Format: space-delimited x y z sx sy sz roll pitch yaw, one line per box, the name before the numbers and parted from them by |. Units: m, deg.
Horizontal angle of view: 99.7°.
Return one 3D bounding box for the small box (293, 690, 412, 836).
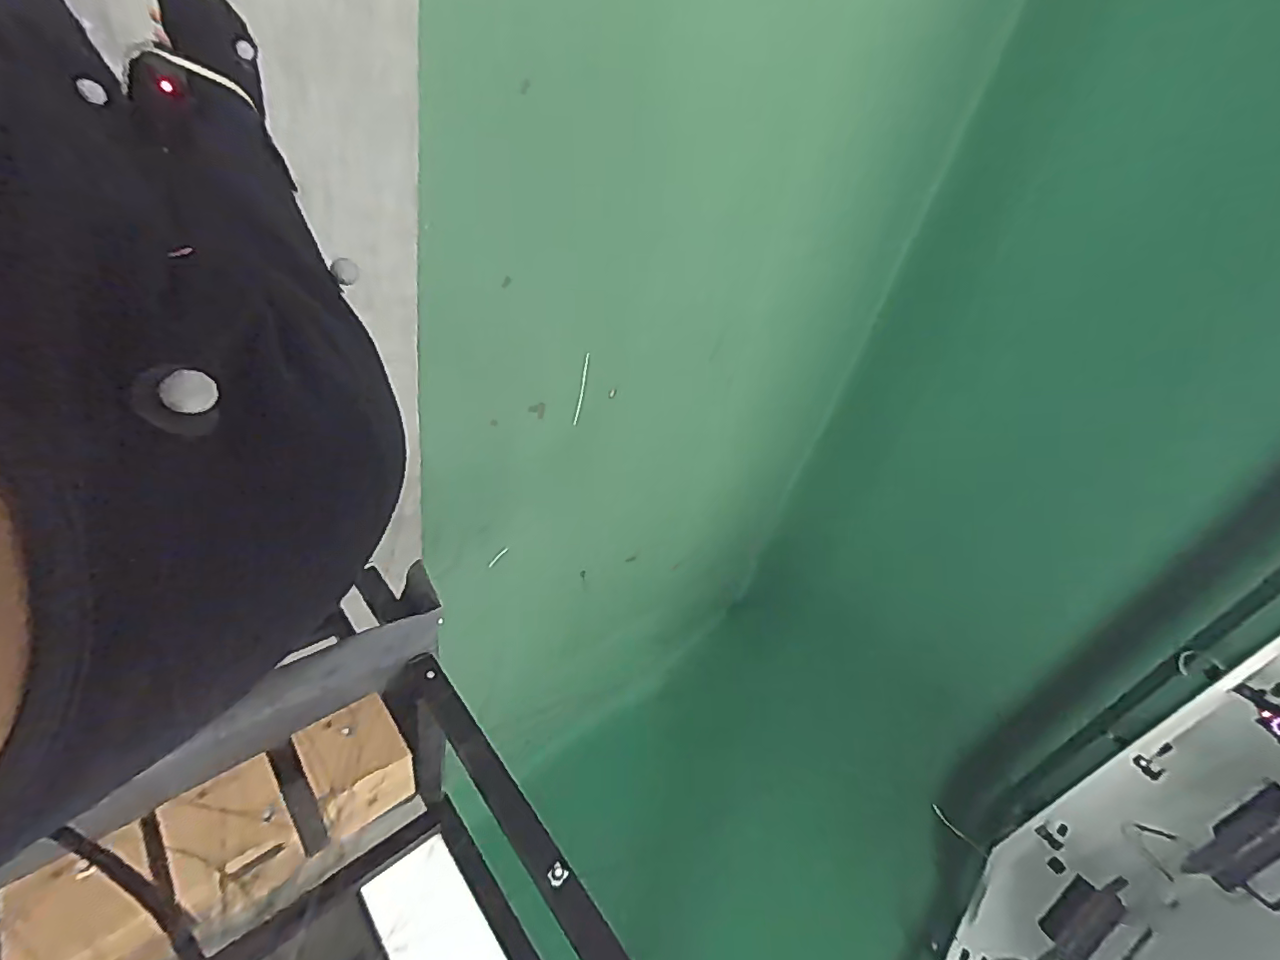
small box | -0.588 0.574 1.114 0.168 0.176 0.179 -22 139 -39
